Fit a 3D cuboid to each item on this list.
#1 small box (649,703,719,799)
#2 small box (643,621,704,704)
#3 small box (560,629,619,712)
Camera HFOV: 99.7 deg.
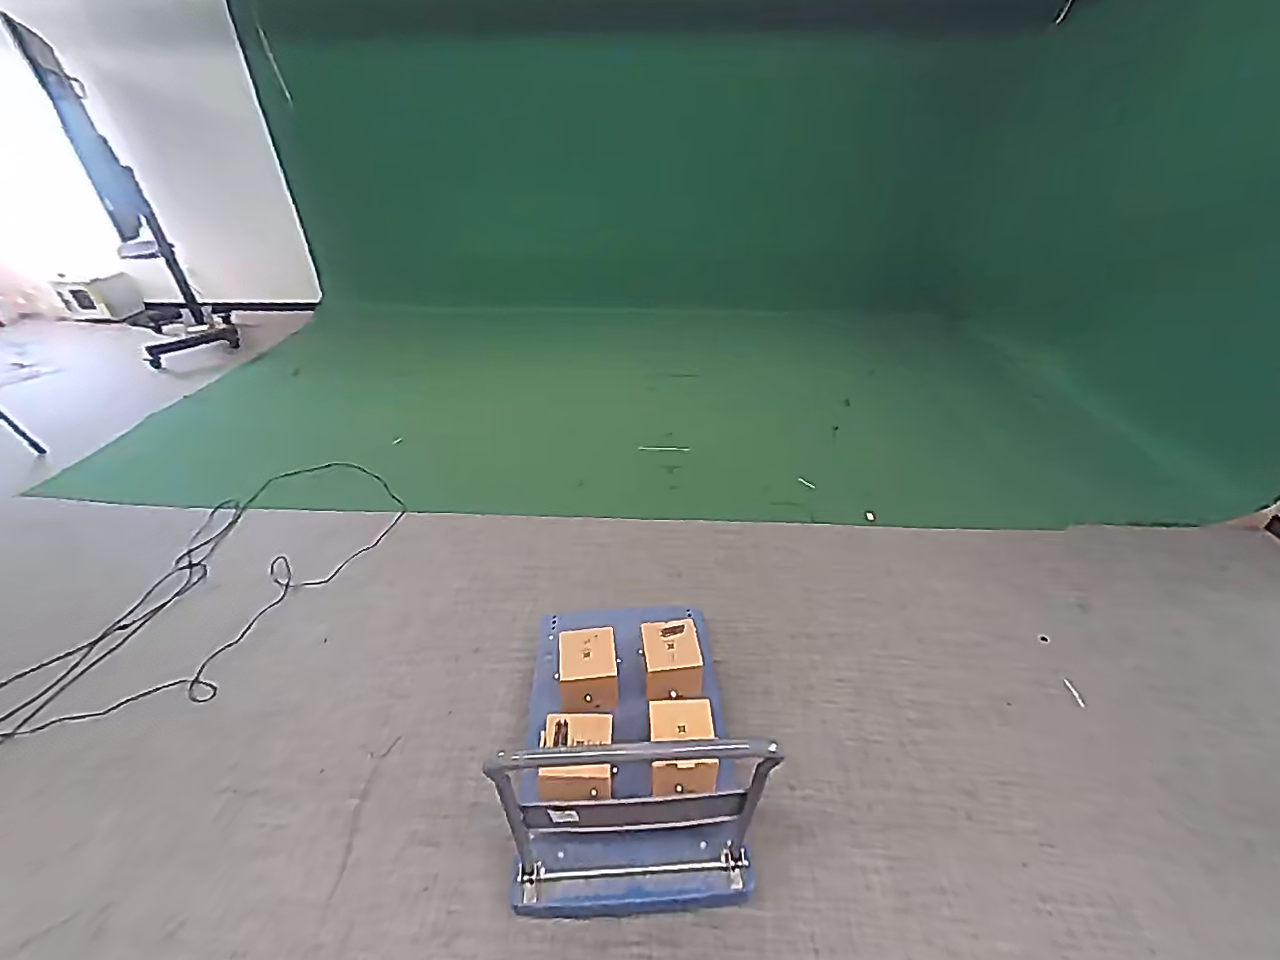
[{"bbox_3d":[0.112,0.721,1.442,0.168,0.176,0.179,-1,36,-2],"label":"small box"},{"bbox_3d":[0.097,0.562,1.660,0.168,0.176,0.179,-5,37,-5],"label":"small box"},{"bbox_3d":[-0.153,0.581,1.636,0.168,0.176,0.179,-3,36,-6],"label":"small box"}]
